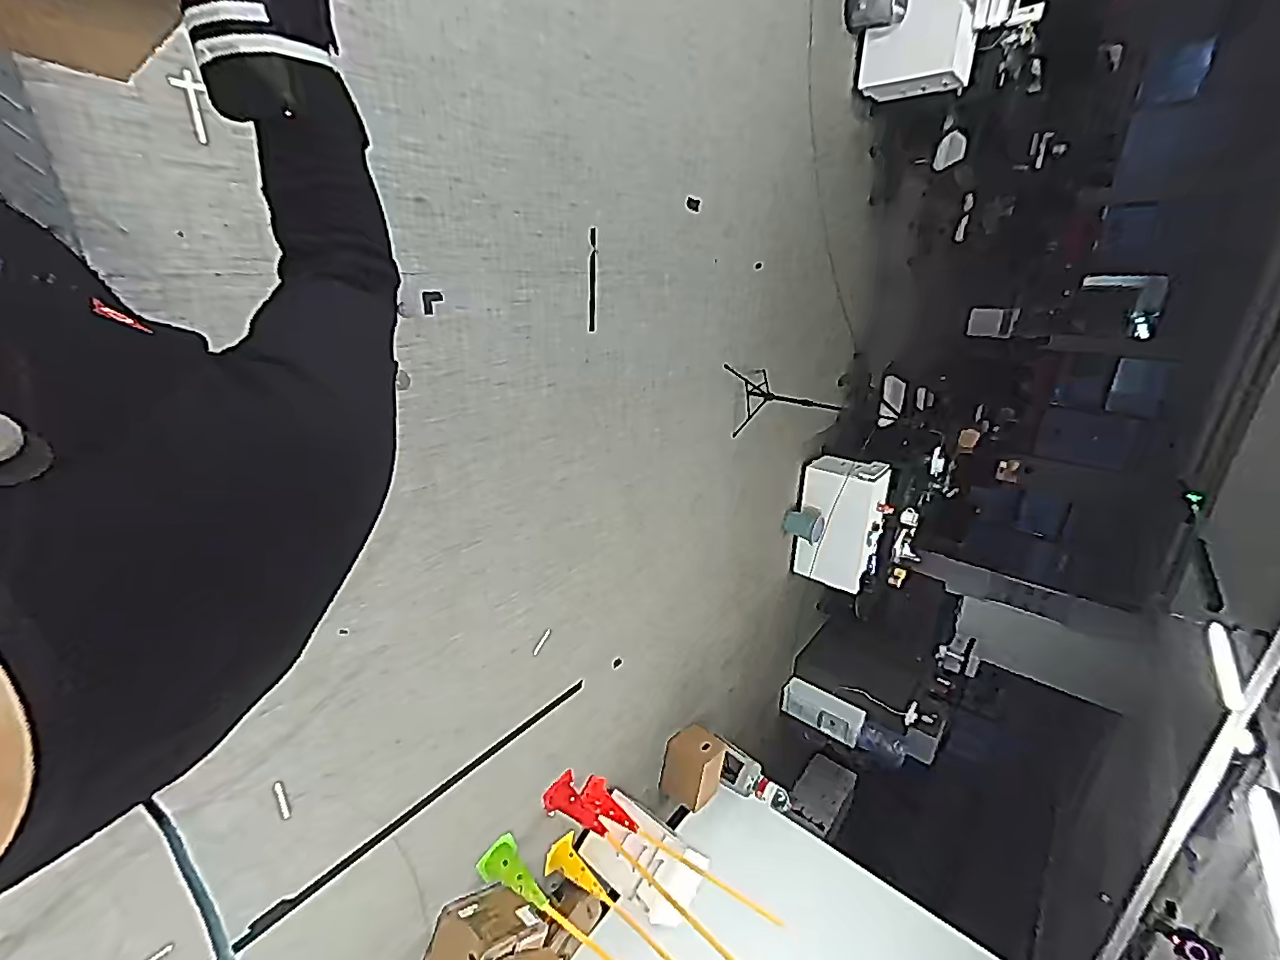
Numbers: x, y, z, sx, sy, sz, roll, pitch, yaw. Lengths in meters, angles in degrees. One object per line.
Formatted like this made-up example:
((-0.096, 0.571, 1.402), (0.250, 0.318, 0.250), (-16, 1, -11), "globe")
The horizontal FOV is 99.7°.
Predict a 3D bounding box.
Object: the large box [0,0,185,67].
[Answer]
((-0.503, -0.468, 0.246), (0.408, 0.320, 0.320), (-15, 117, -49), "large box")
